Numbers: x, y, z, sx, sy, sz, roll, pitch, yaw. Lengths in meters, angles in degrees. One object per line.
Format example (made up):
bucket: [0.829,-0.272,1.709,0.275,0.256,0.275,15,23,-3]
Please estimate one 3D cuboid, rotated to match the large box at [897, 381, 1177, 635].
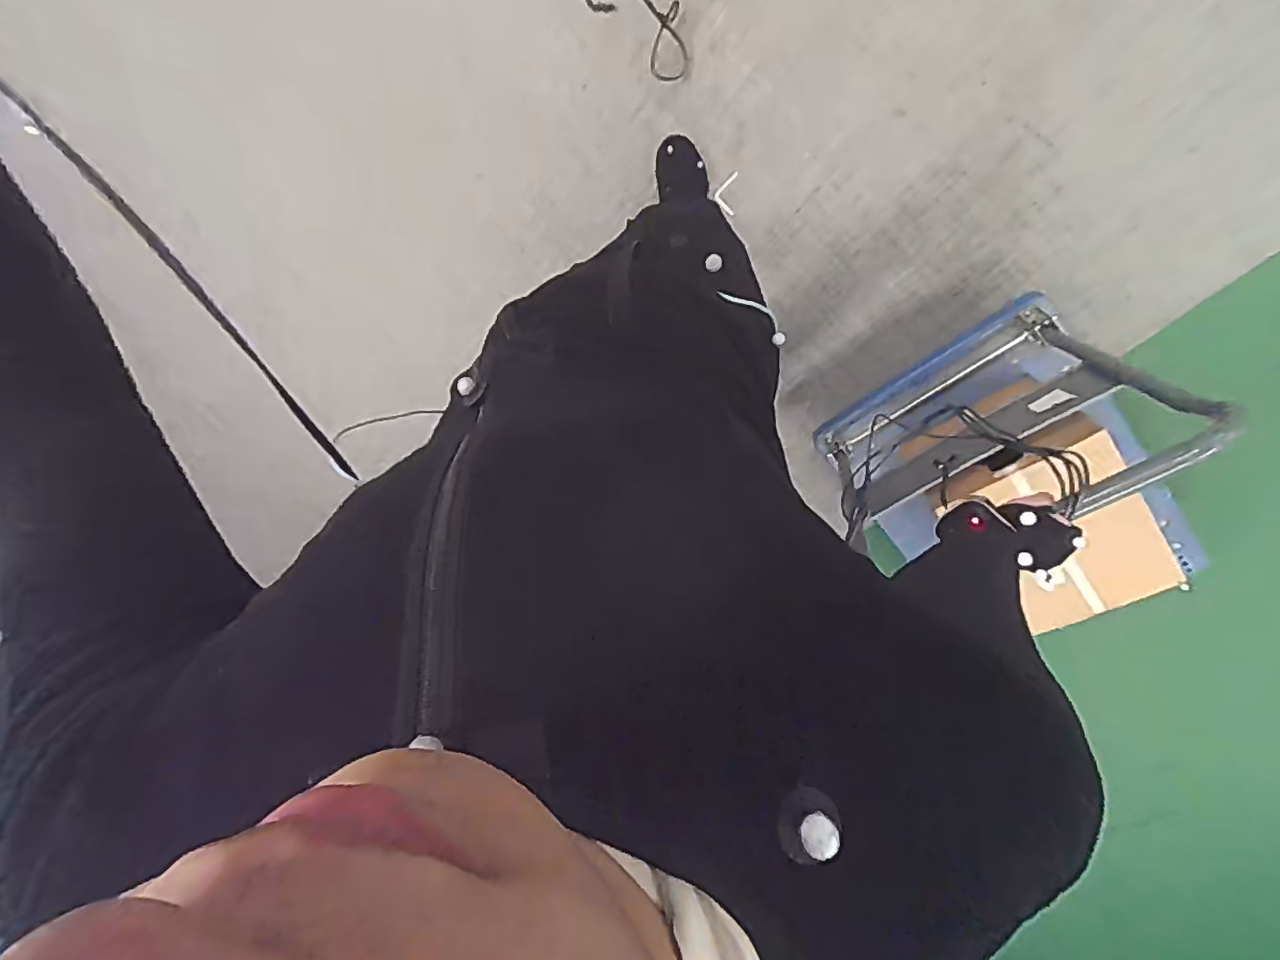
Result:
large box: [0.848,0.058,1.207,0.320,0.320,0.408,-33,108,26]
